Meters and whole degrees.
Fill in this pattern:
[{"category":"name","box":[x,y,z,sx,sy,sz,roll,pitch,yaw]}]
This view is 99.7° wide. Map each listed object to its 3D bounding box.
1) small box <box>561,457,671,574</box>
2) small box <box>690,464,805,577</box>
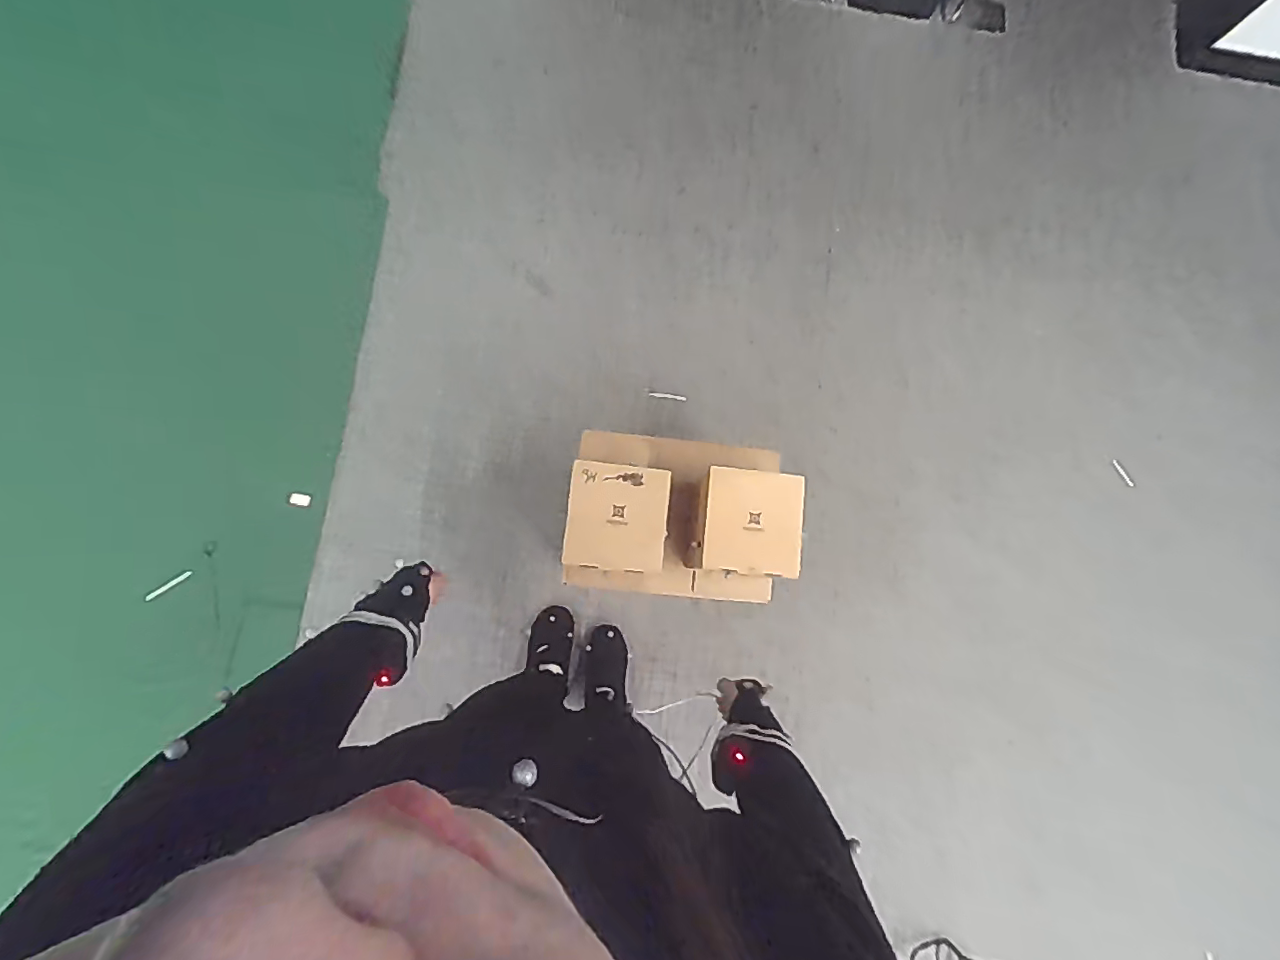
[{"category":"small box","box":[-0.044,0.065,0.965,0.168,0.176,0.179,7,83,-5]},{"category":"small box","box":[0.187,0.078,0.982,0.168,0.176,0.179,6,82,-2]}]
